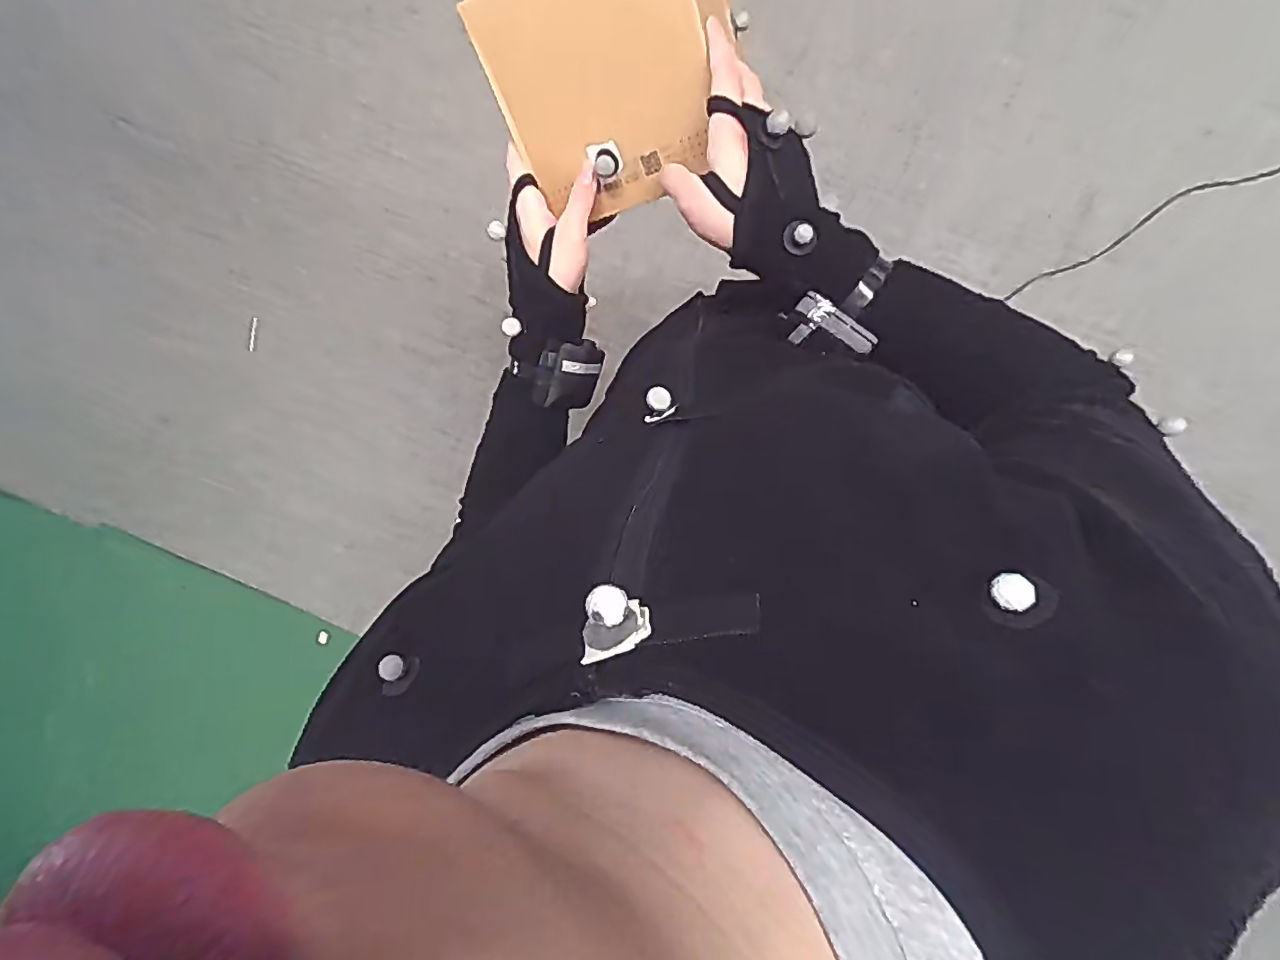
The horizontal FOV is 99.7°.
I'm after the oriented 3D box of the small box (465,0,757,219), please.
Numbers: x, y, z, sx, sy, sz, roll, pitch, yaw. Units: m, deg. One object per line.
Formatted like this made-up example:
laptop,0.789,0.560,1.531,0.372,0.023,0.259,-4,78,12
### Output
small box,-0.005,-0.344,0.455,0.168,0.179,0.176,-9,125,26
